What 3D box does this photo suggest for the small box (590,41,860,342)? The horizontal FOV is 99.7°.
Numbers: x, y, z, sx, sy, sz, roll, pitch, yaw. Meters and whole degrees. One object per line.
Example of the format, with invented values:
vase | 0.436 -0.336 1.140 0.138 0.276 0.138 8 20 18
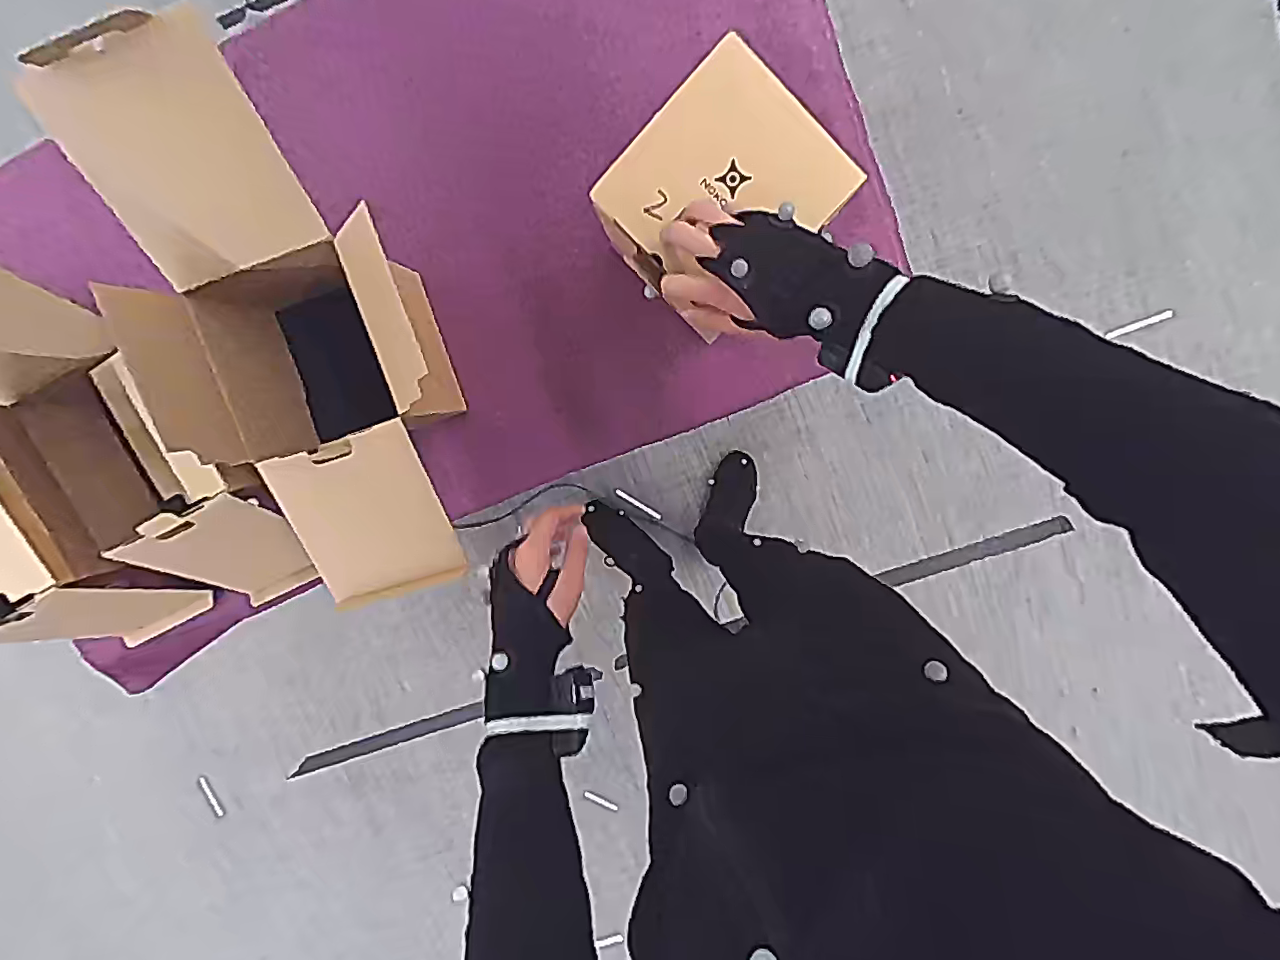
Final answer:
small box | 0.075 -0.260 0.541 0.168 0.176 0.179 43 100 -3
